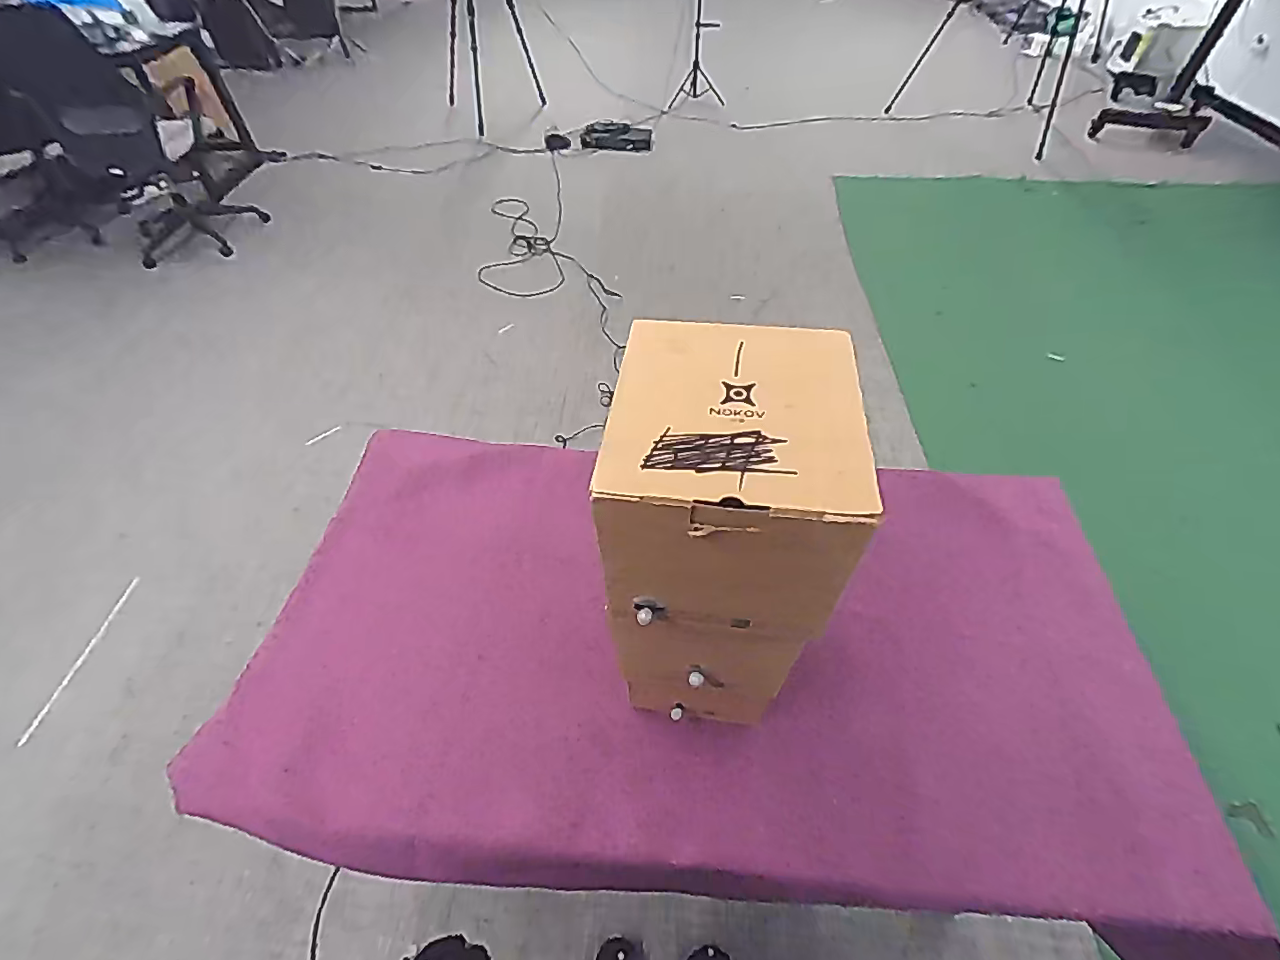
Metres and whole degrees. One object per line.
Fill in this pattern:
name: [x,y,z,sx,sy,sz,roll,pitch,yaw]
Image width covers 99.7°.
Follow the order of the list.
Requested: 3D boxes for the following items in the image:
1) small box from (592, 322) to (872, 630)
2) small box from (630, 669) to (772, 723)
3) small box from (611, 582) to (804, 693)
small box: [0.067,0.000,0.426,0.168,0.176,0.179,5,50,7]
small box: [0.078,0.189,0.695,0.168,0.176,0.179,6,52,7]
small box: [0.068,0.097,0.559,0.168,0.176,0.179,5,51,7]
